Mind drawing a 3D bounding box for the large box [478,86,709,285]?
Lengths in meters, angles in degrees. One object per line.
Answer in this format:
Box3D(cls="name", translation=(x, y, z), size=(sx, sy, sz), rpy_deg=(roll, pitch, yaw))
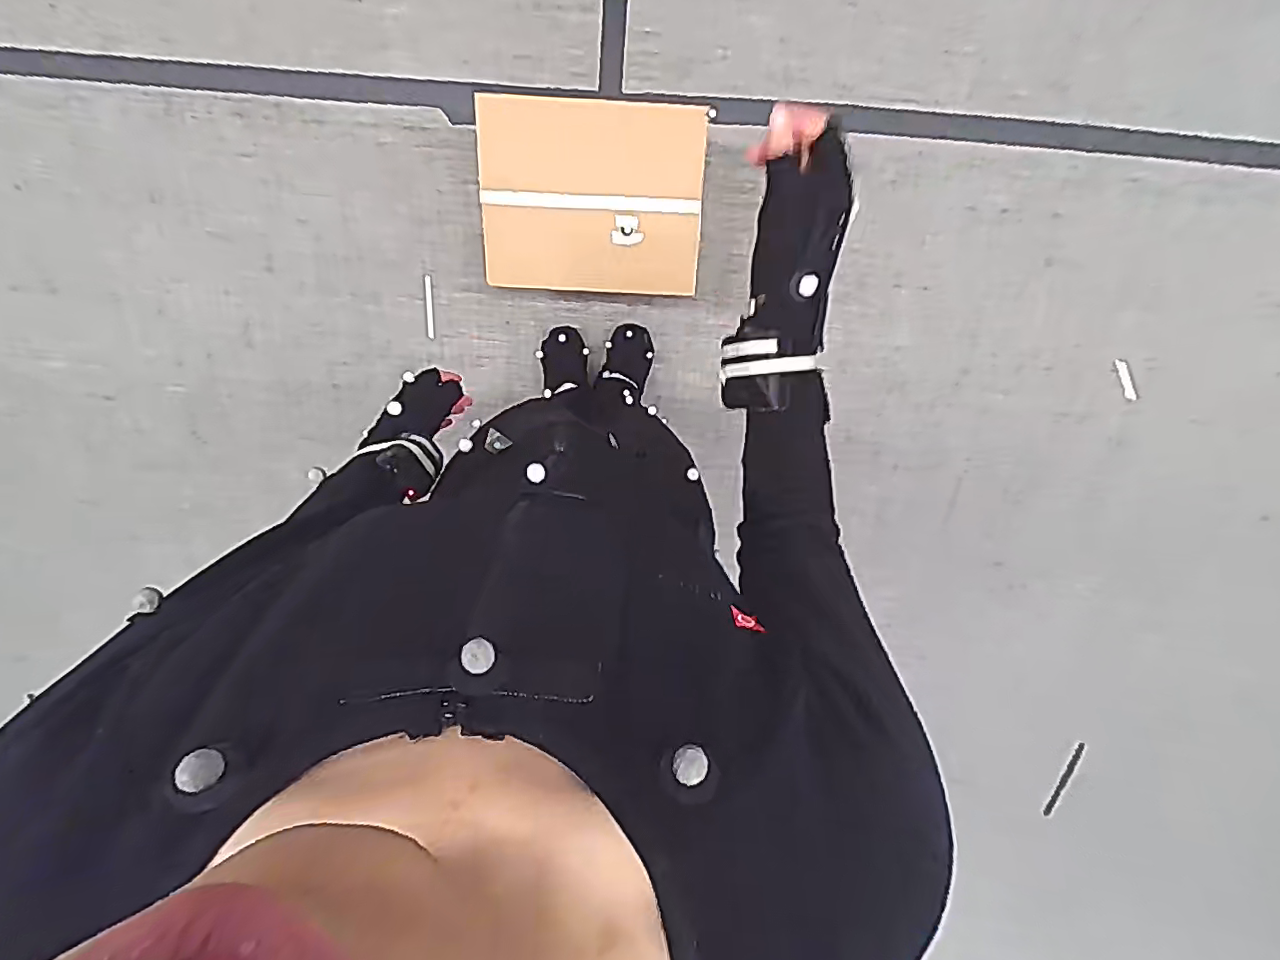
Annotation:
Box3D(cls="large box", translation=(-0.088, -0.583, 1.119), size=(0.408, 0.320, 0.320), rpy_deg=(2, 115, -3))
